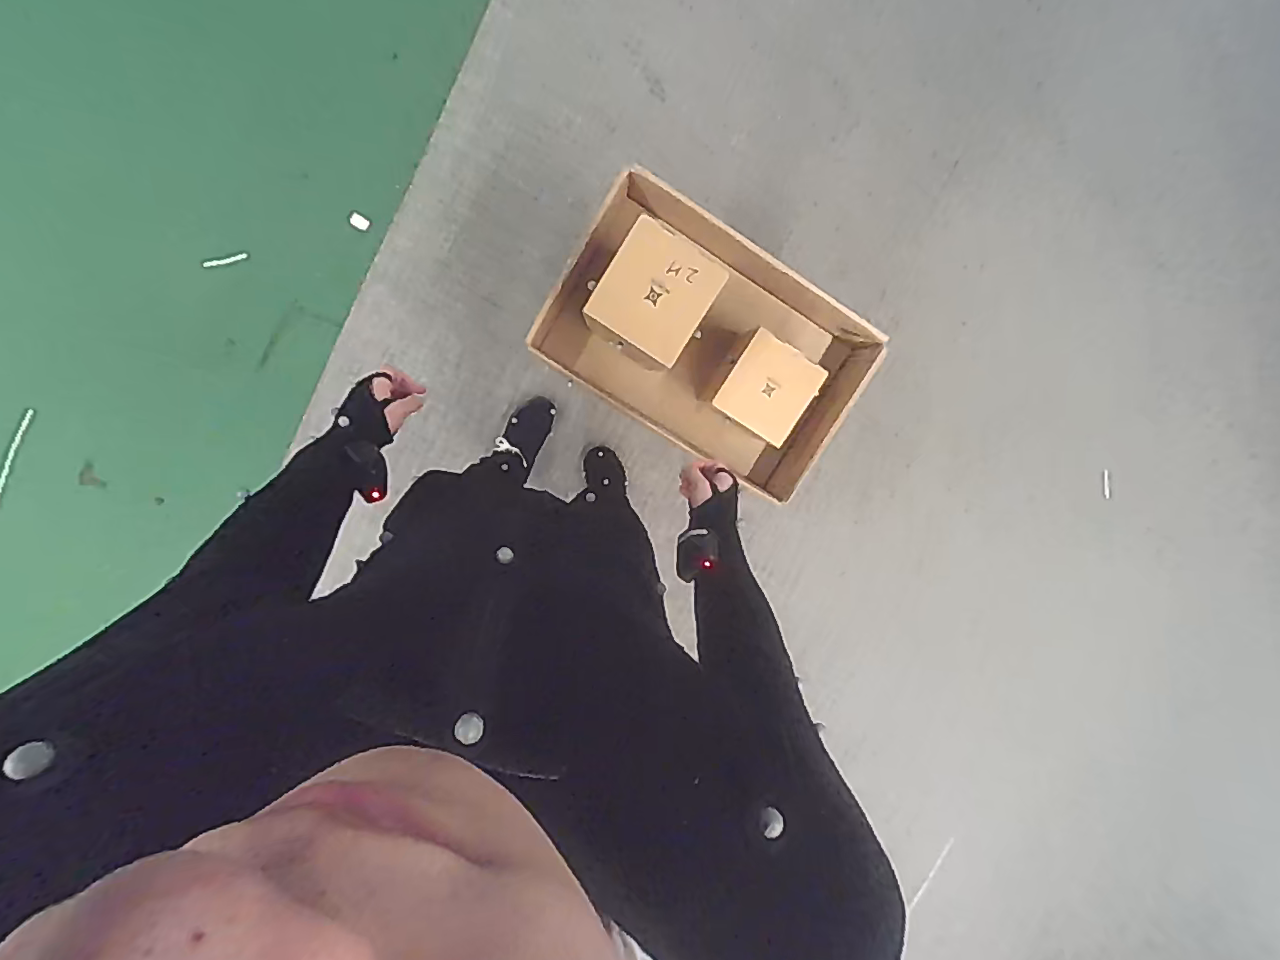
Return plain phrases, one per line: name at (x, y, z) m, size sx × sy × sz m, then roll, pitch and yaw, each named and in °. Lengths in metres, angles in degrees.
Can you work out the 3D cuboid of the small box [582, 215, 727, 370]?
small box at (0.020, -0.301, 0.915) m, size 0.168 × 0.176 × 0.179 m, roll 32°, pitch 96°, yaw -9°
